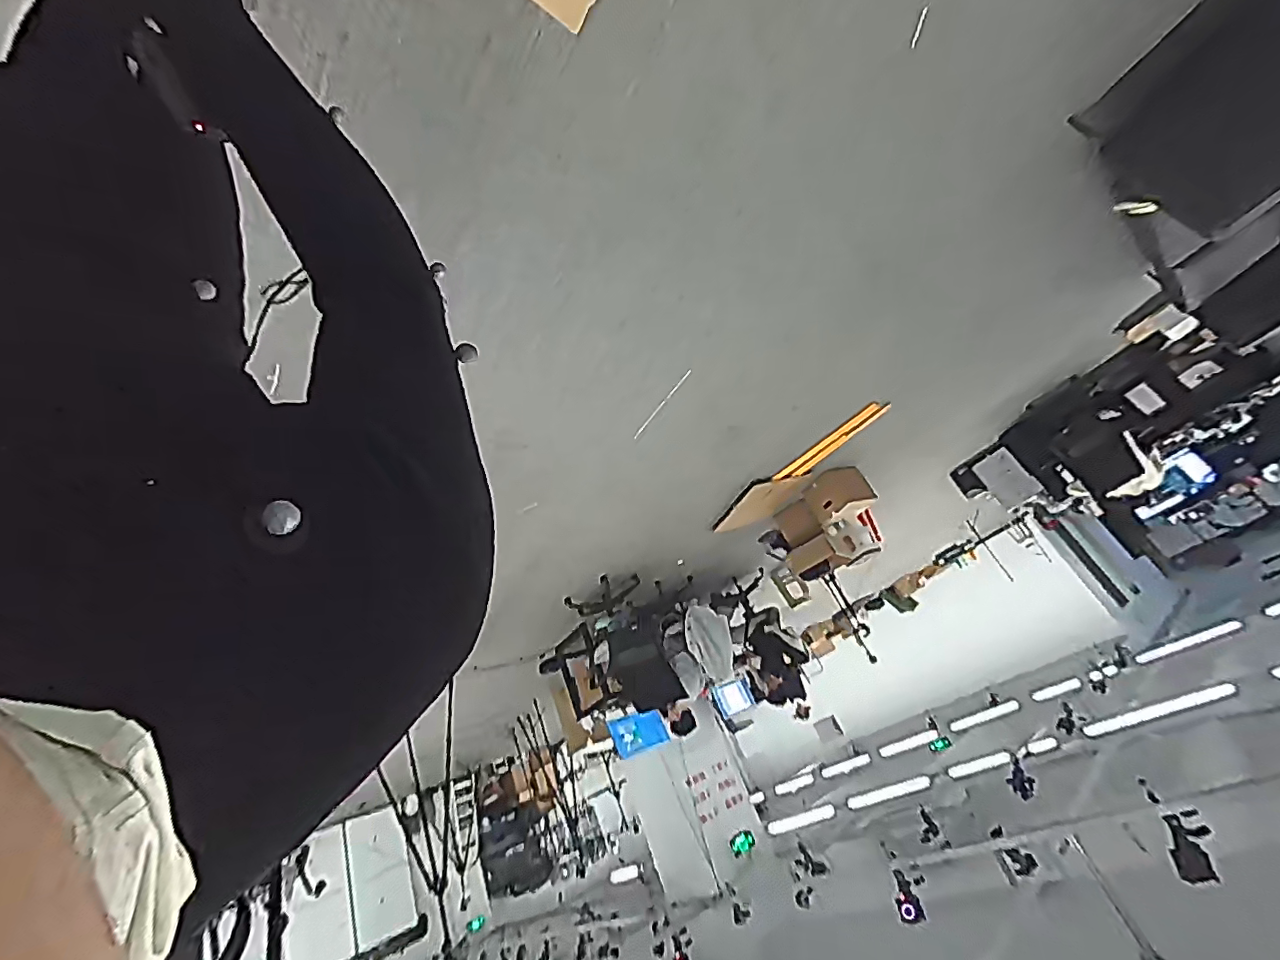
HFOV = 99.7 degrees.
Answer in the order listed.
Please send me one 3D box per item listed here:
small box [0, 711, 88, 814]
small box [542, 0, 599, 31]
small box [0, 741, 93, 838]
[{"bbox_3d":[-1.477,0.687,1.322,0.179,0.176,0.168,2,143,-43],"label":"small box"},{"bbox_3d":[-0.160,-1.002,1.002,0.179,0.176,0.168,3,141,-44],"label":"small box"},{"bbox_3d":[-1.616,0.834,1.471,0.168,0.176,0.179,2,143,-42],"label":"small box"}]
